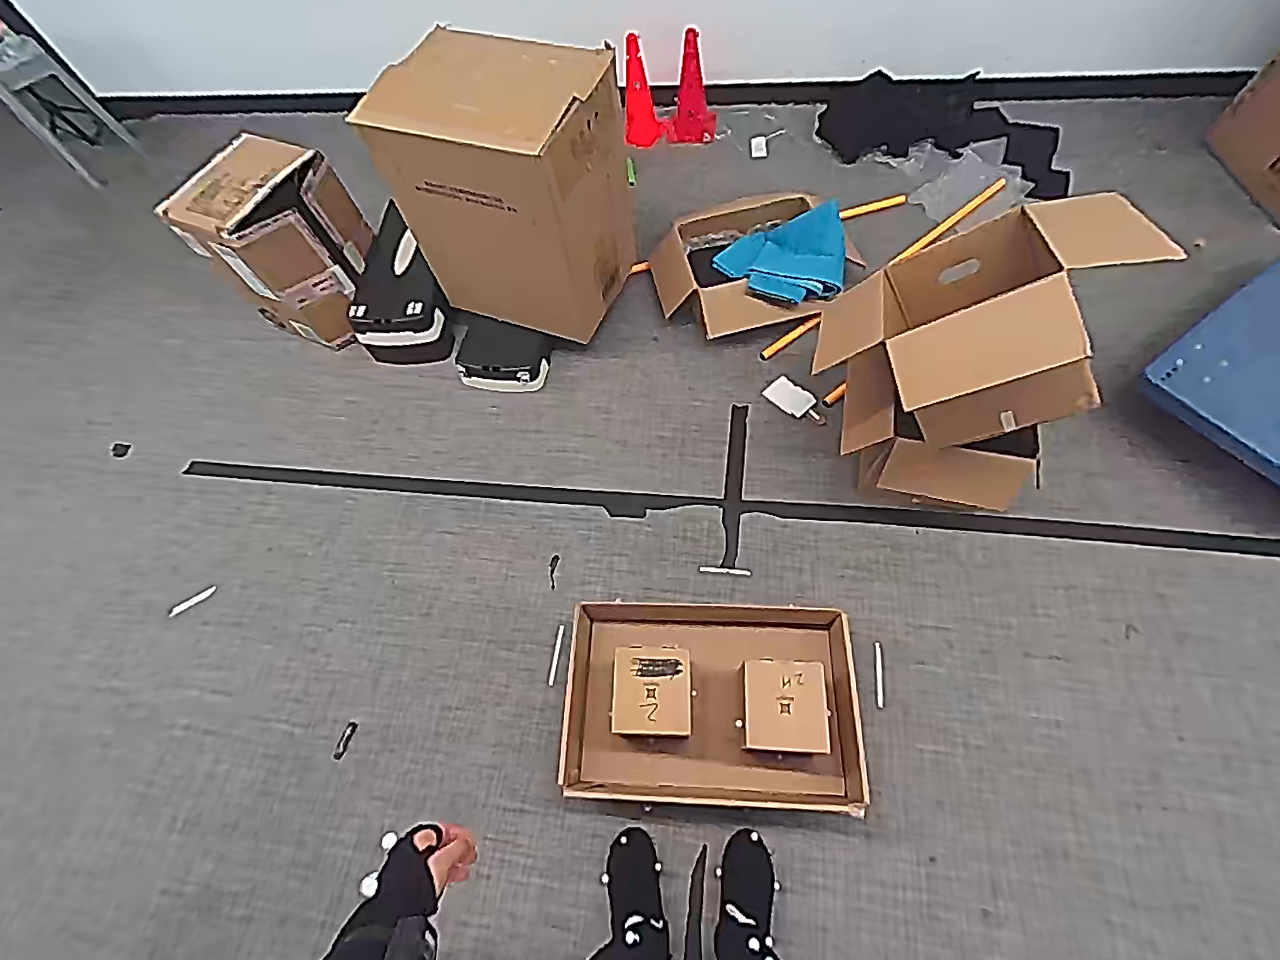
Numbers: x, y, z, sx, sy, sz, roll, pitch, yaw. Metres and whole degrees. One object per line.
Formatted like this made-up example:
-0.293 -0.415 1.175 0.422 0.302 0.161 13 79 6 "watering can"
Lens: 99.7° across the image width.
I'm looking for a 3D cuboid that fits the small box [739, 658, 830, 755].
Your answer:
0.308 0.496 1.178 0.168 0.176 0.179 1 63 6 "small box"
